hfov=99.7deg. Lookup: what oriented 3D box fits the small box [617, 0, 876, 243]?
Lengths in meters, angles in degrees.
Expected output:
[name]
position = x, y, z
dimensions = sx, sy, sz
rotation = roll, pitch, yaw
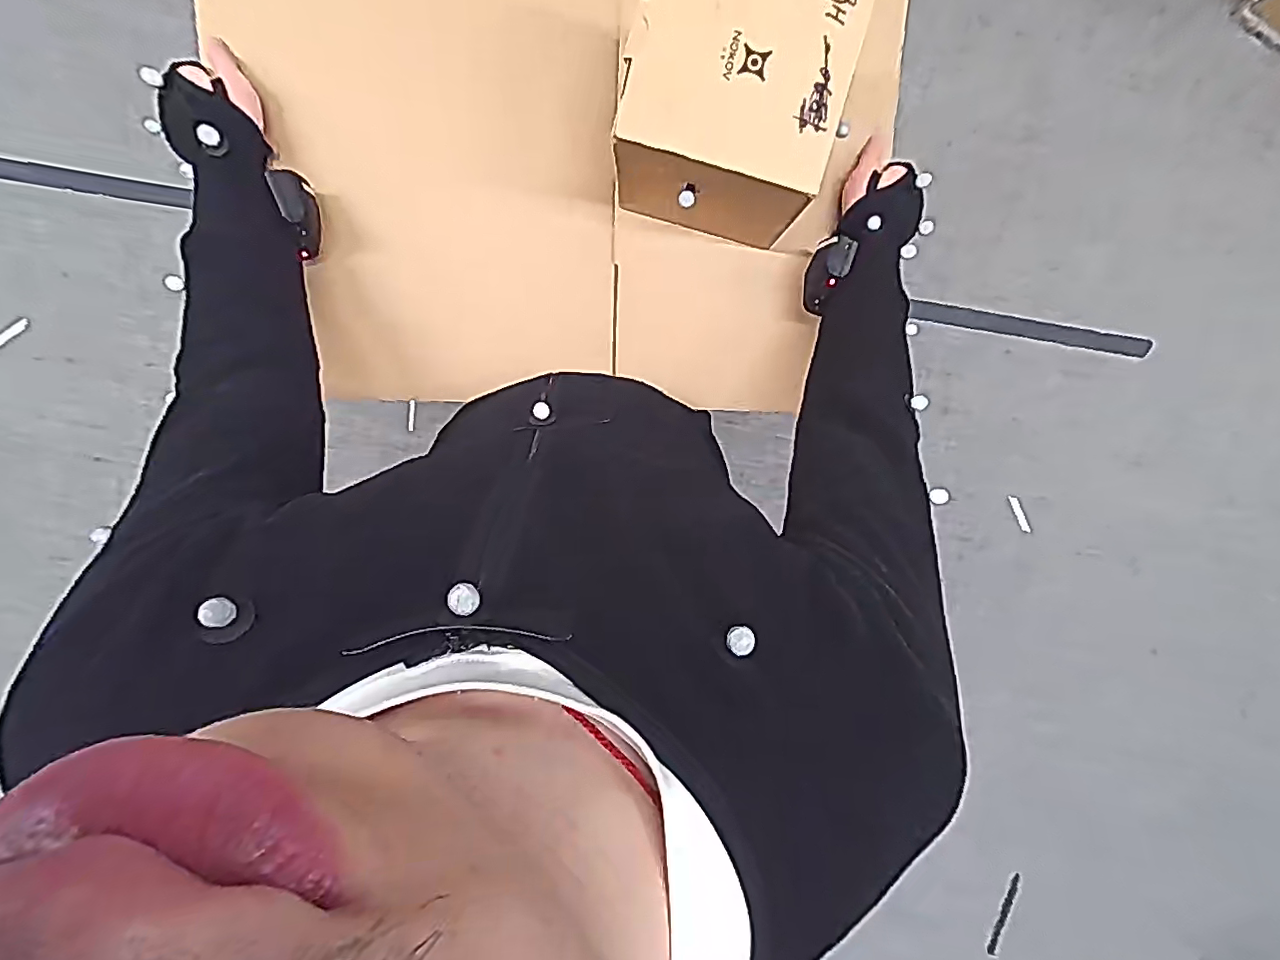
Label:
[small box]
position = 0.086, -0.347, 0.513
dimensions = 0.179, 0.176, 0.168
rotation = 15, 98, -2
